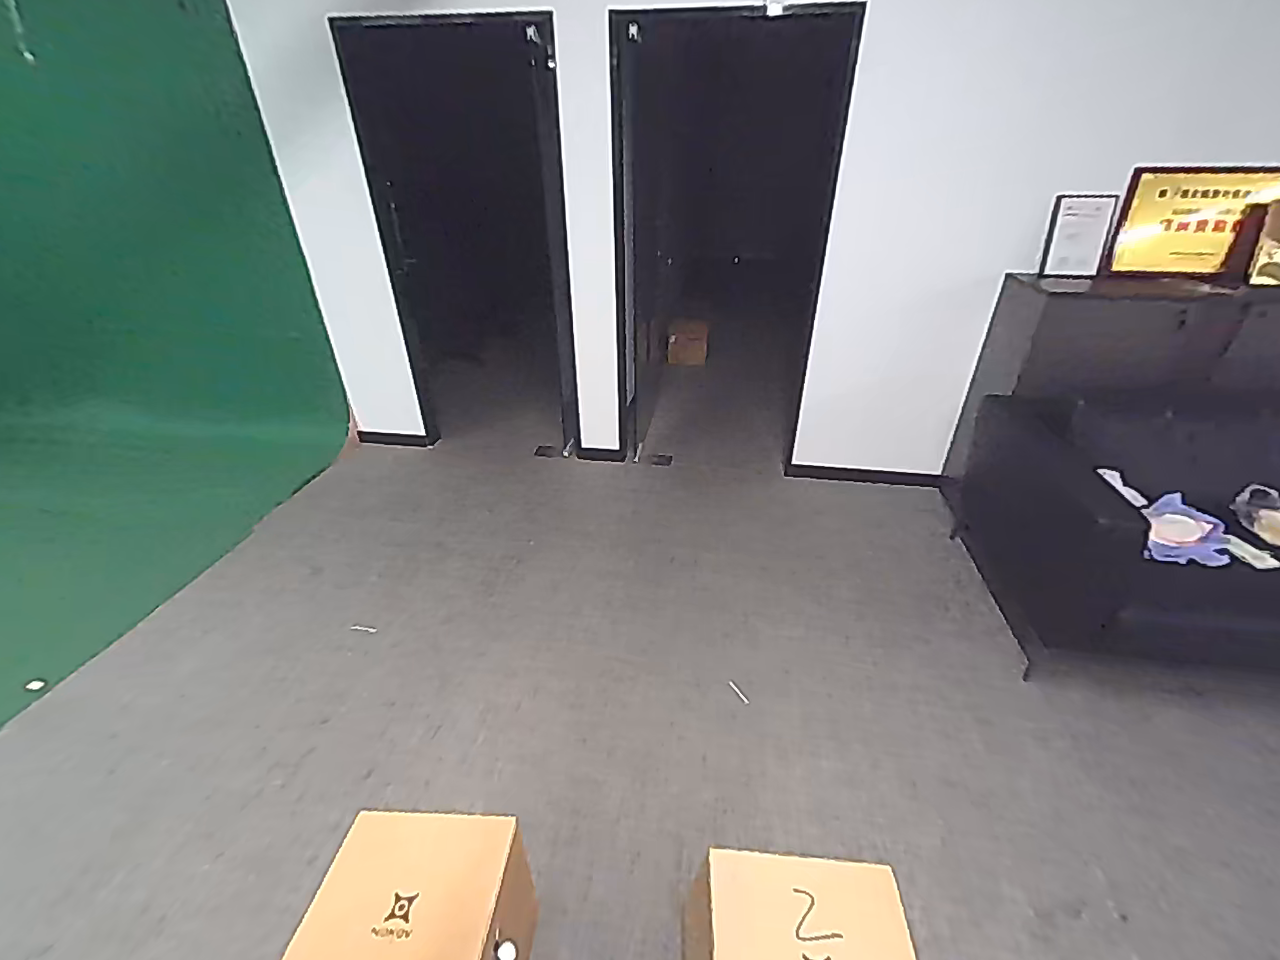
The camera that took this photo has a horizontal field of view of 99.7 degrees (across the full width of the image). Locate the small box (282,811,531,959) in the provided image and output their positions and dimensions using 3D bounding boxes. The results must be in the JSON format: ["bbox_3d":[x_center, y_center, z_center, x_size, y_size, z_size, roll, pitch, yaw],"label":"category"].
[{"bbox_3d":[-0.204,0.448,0.501,0.168,0.176,0.179,0,28,5],"label":"small box"}]
